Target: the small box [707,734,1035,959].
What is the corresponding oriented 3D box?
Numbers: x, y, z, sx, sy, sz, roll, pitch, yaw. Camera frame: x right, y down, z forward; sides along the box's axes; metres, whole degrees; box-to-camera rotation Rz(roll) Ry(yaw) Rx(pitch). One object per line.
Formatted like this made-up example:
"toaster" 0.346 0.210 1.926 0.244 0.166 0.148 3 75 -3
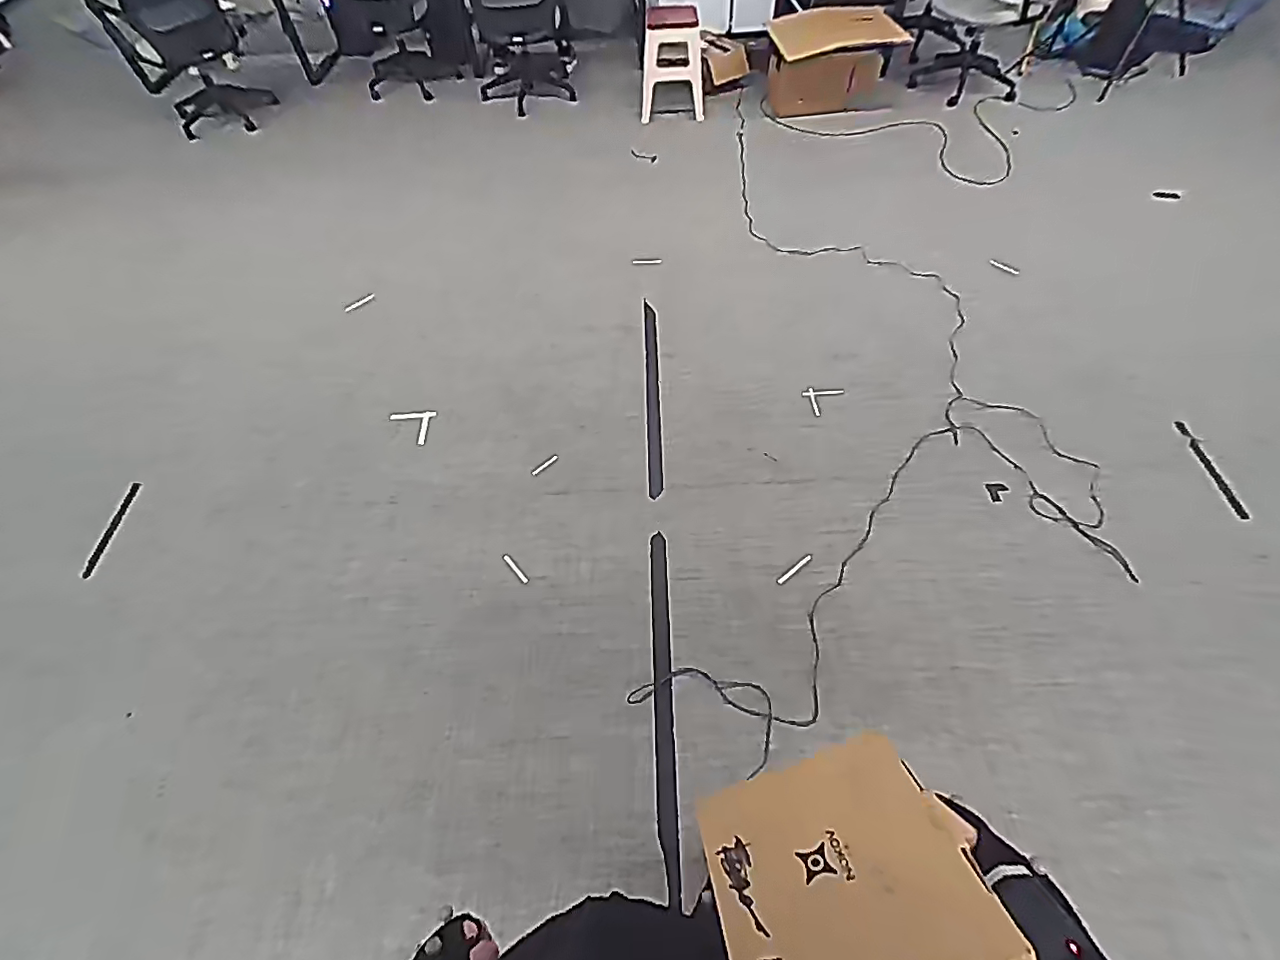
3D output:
"small box" 0.175 0.349 0.426 0.179 0.176 0.168 -23 19 2
